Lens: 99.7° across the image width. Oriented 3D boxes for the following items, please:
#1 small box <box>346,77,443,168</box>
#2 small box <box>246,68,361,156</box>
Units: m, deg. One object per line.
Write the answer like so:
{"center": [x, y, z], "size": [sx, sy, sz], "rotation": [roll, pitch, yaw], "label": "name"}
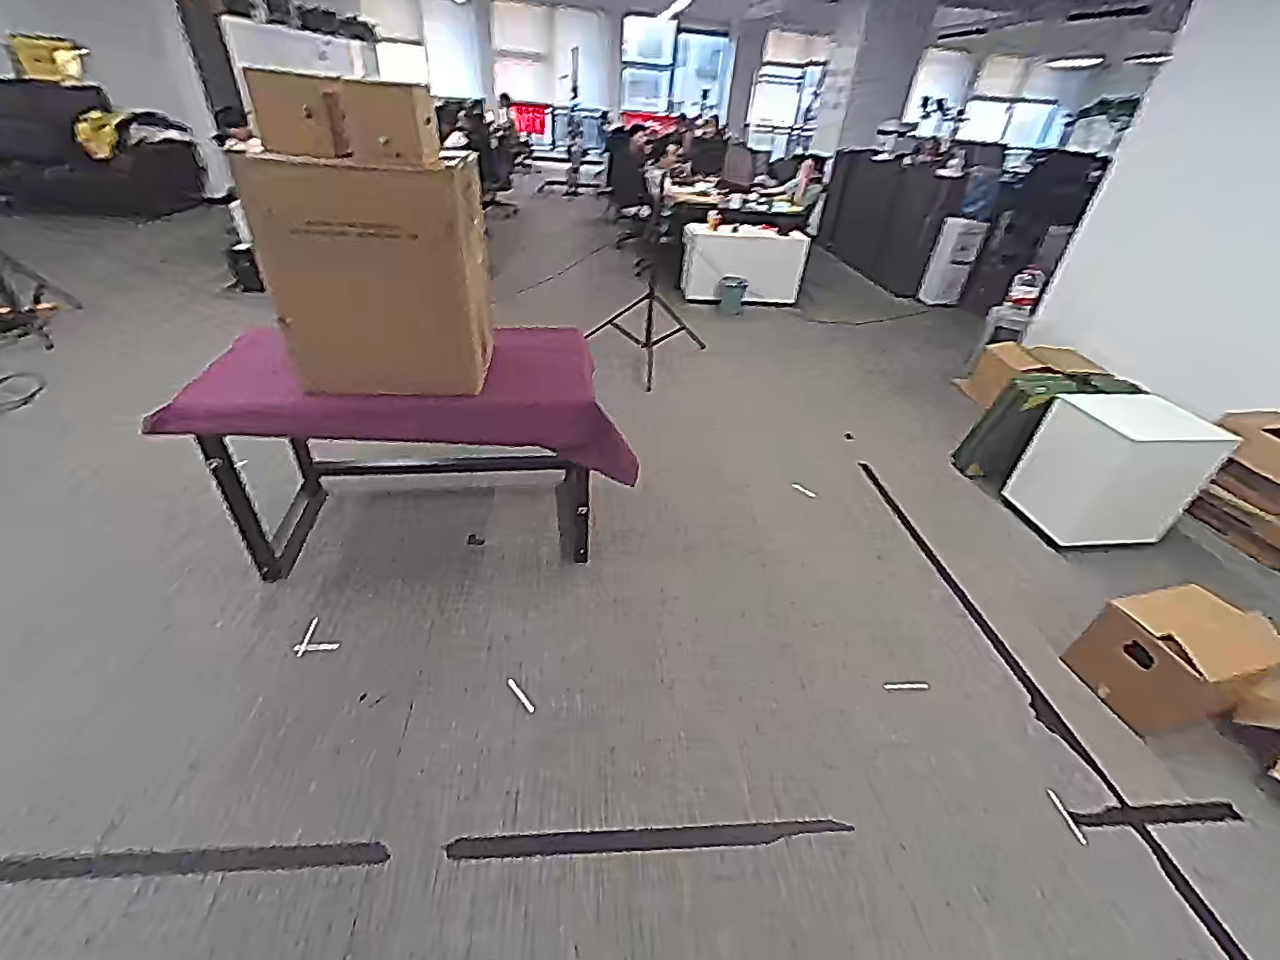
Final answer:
{"center": [-0.596, -0.885, 1.340], "size": [0.168, 0.176, 0.179], "rotation": [1, 36, -5], "label": "small box"}
{"center": [-0.825, -0.915, 1.350], "size": [0.179, 0.176, 0.168], "rotation": [1, 35, -6], "label": "small box"}
